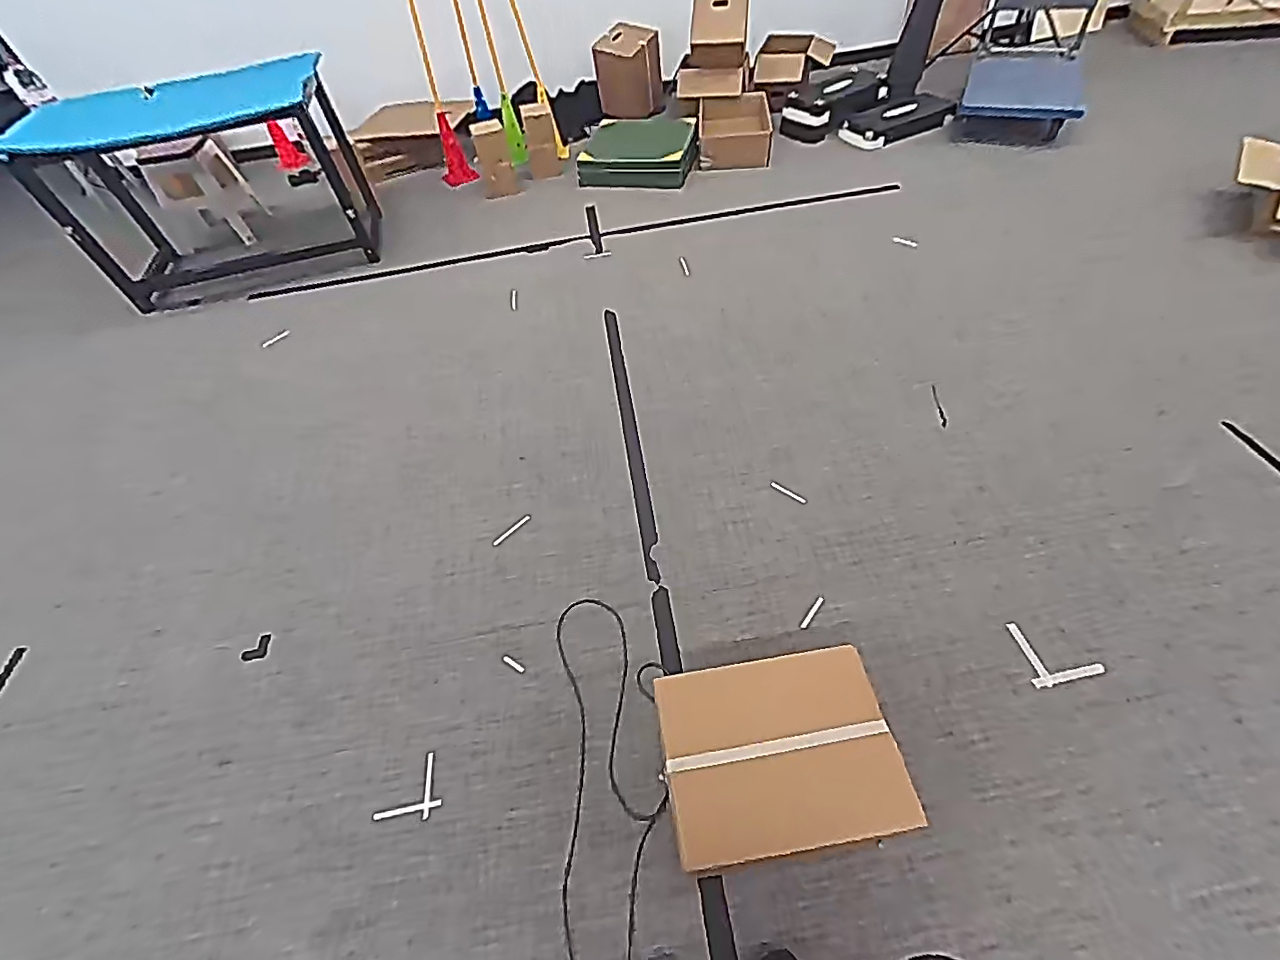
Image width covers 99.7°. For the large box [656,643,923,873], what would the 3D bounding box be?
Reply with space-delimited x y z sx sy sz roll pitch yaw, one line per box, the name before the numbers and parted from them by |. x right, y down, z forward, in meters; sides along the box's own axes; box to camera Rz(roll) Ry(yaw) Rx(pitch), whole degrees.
large box | 0.260 0.563 1.085 0.408 0.320 0.320 -10 51 -2
